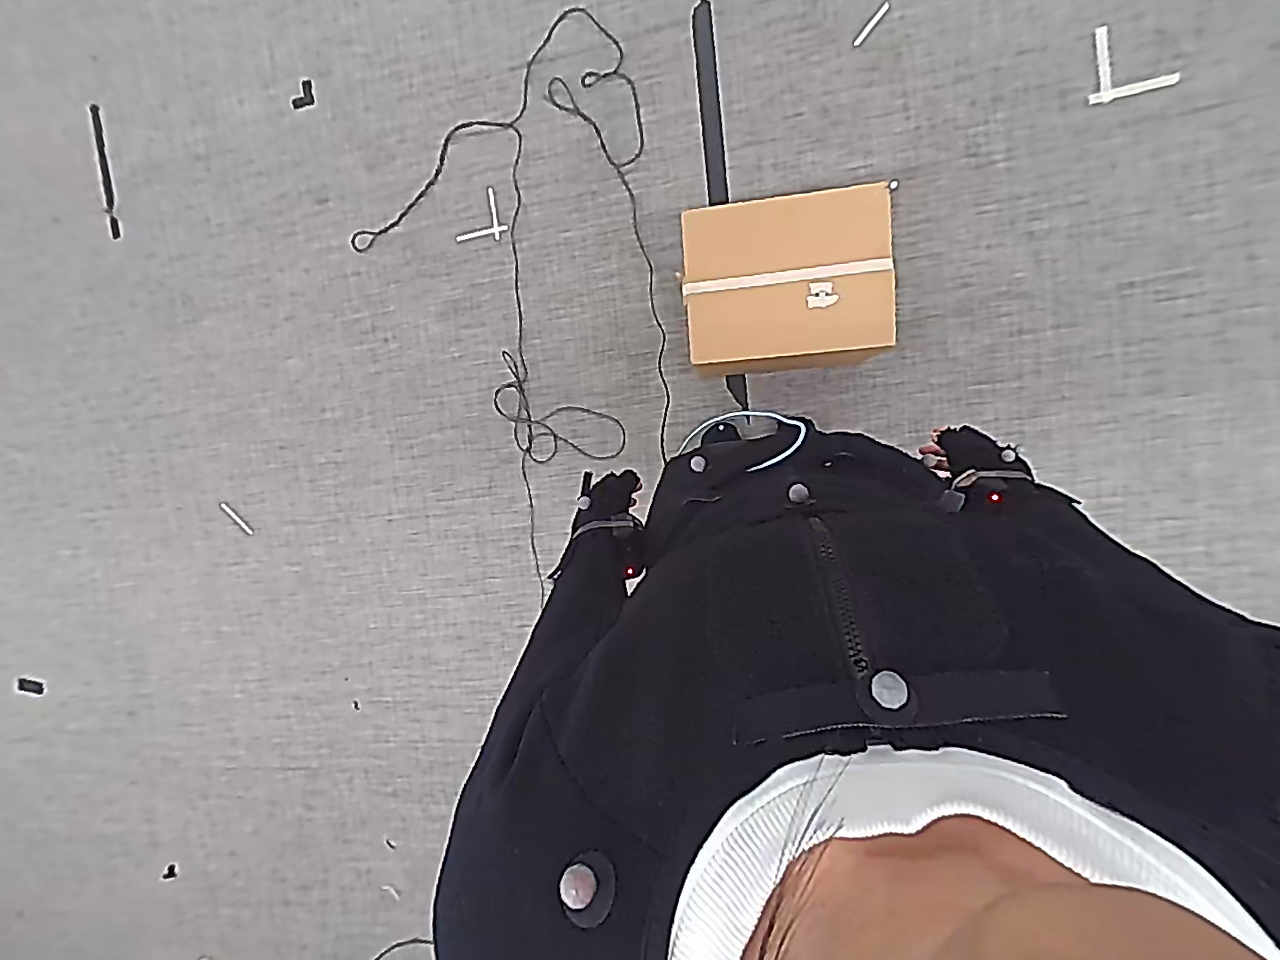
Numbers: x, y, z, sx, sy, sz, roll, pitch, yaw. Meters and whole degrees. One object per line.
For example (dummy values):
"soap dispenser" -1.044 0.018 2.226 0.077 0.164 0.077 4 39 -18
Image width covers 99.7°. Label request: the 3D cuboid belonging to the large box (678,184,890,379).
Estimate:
"large box" 0.309 -0.420 1.238 0.408 0.320 0.320 -4 95 9
